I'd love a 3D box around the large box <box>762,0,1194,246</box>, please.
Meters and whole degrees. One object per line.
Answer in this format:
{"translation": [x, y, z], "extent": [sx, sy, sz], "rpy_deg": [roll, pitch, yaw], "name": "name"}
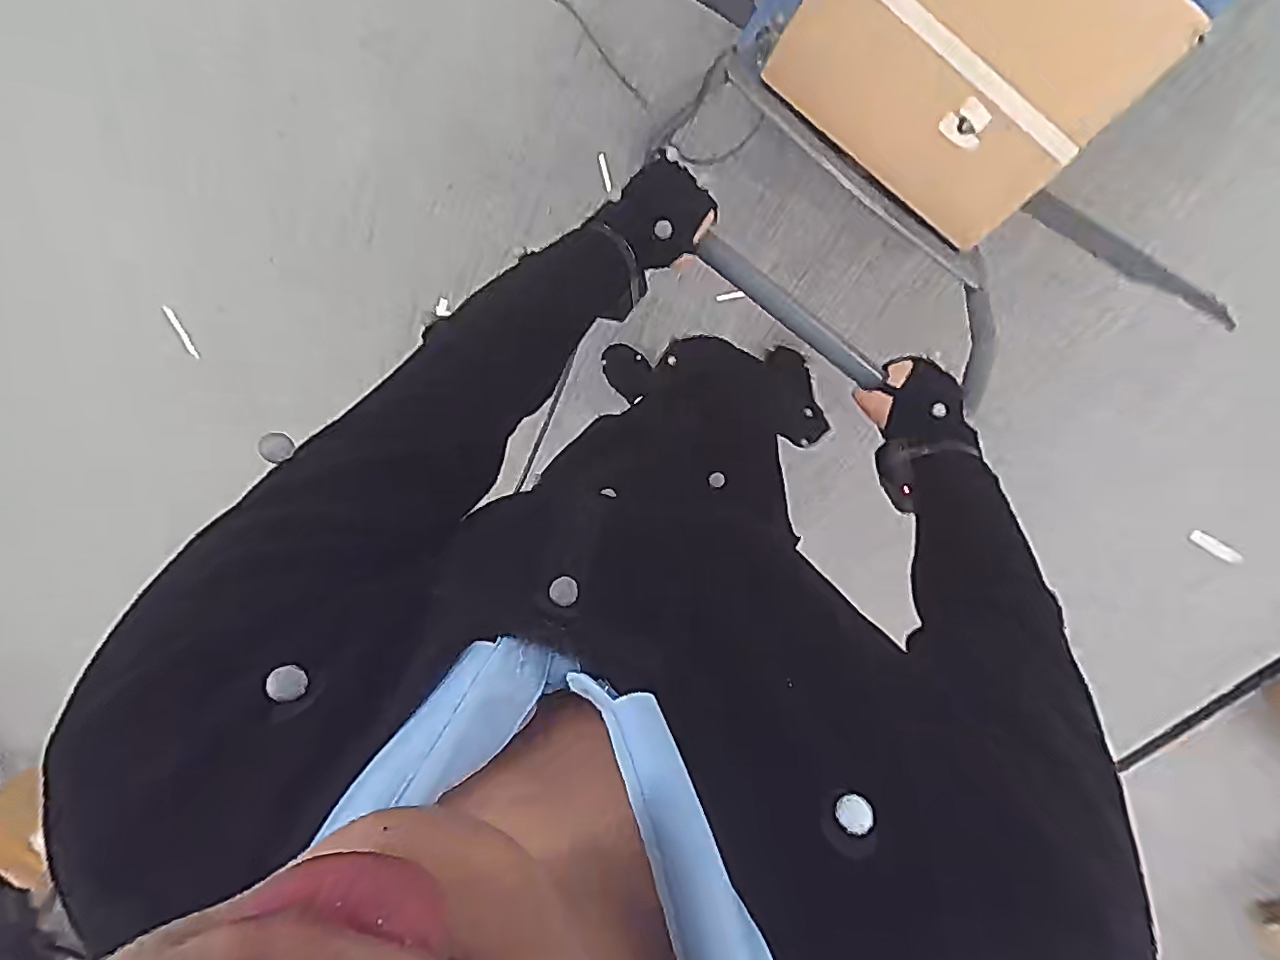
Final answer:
{"translation": [0.450, -0.641, 0.806], "extent": [0.408, 0.320, 0.320], "rpy_deg": [35, 135, -8], "name": "large box"}
